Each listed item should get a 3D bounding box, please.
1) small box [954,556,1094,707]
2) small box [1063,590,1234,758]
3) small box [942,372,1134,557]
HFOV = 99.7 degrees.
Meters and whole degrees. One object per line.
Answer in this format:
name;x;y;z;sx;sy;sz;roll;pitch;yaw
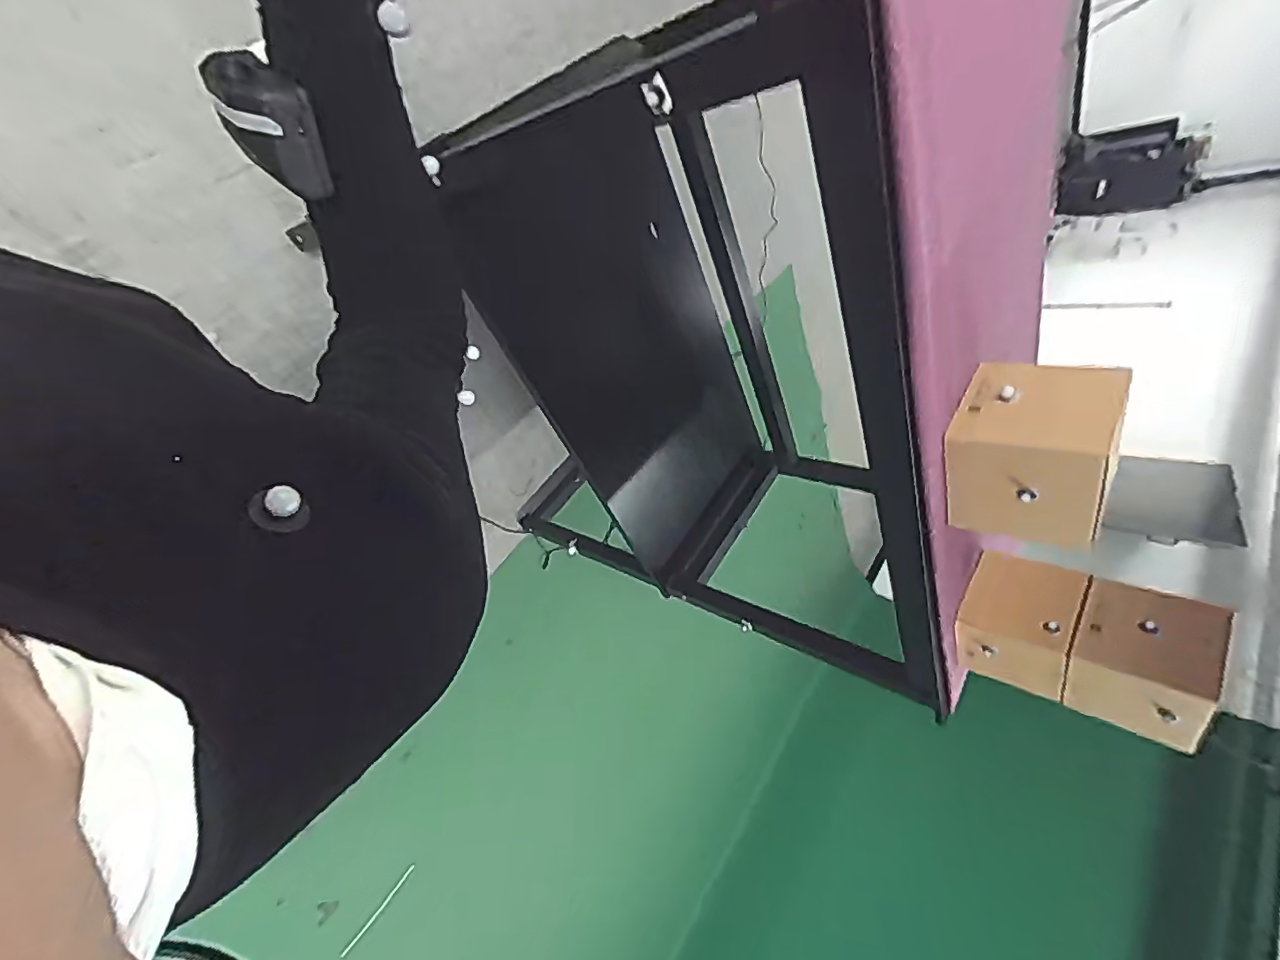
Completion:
small box;0.693;0.266;0.987;0.179;0.176;0.168;-49;131;-25
small box;0.803;0.298;0.867;0.168;0.176;0.179;-48;131;-25
small box;0.522;-0.030;0.722;0.168;0.176;0.179;-50;131;-27
